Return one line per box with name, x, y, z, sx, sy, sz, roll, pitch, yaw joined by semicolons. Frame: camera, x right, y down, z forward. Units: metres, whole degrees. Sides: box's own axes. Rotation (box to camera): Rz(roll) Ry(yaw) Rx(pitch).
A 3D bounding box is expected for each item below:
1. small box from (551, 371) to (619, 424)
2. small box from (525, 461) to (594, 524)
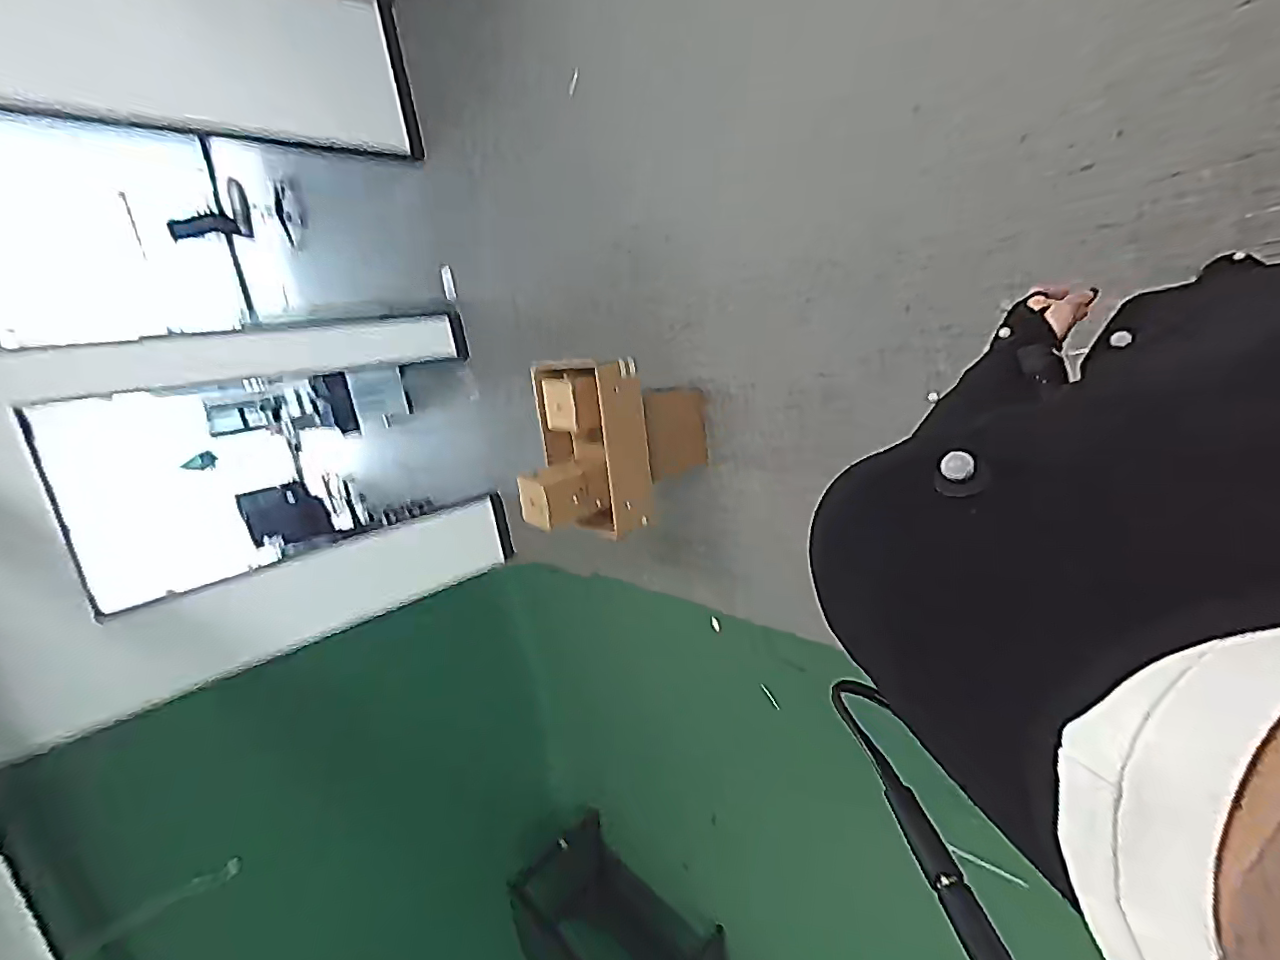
small box;-0.197;-0.300;1.947;0.179;0.176;0.168;11;113;46
small box;-0.284;0.038;1.923;0.179;0.176;0.168;15;117;45
